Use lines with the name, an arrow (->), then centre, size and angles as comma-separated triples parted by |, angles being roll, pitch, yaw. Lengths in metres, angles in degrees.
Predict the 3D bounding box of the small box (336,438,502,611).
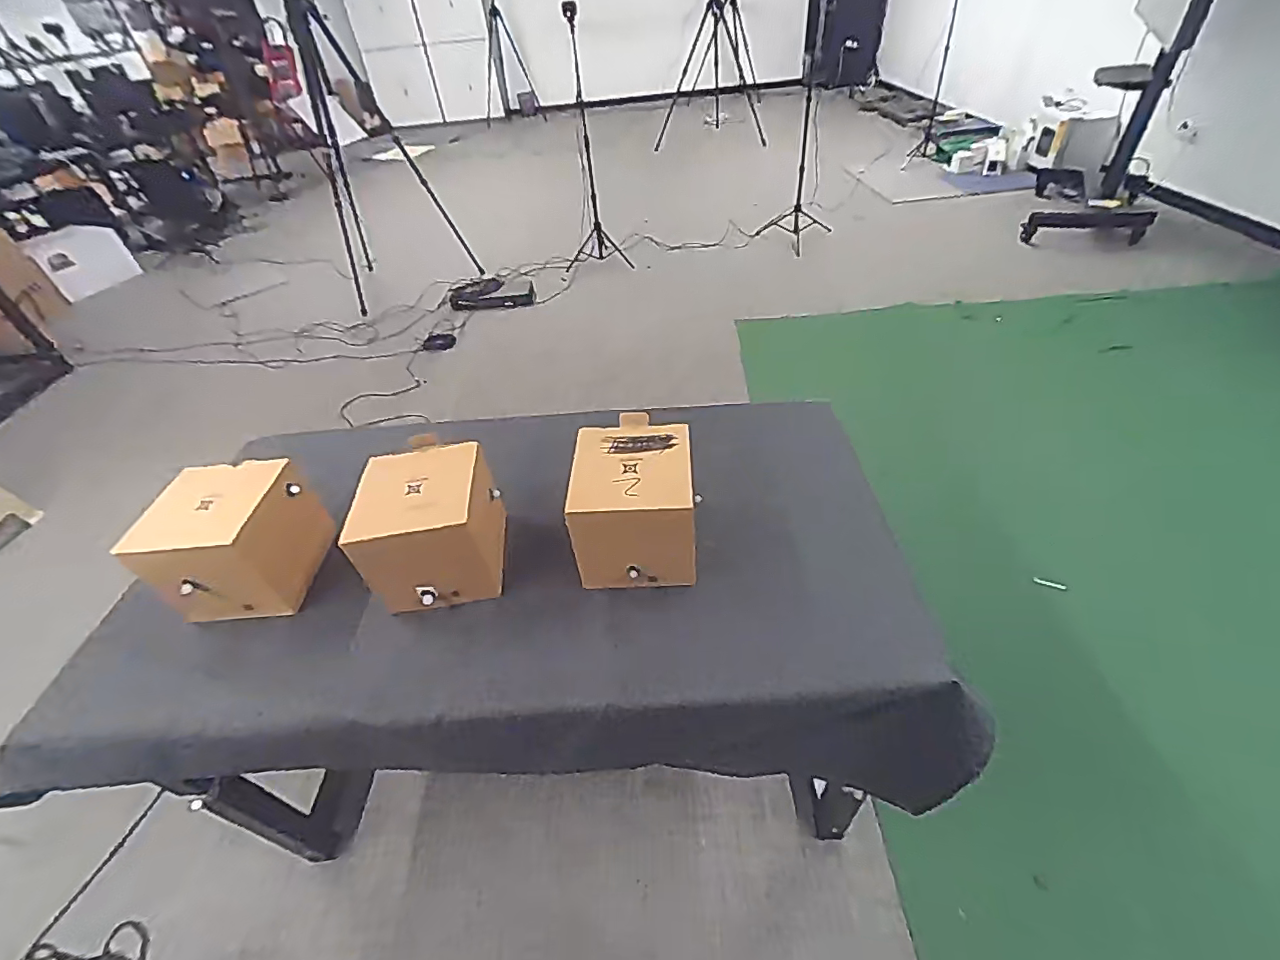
small box -> -0.307, 0.065, 0.797 | 0.168, 0.176, 0.179 | -10, 43, -2

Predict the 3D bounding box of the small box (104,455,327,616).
small box -> -0.606, 0.088, 0.807 | 0.168, 0.176, 0.179 | -5, 42, 1
